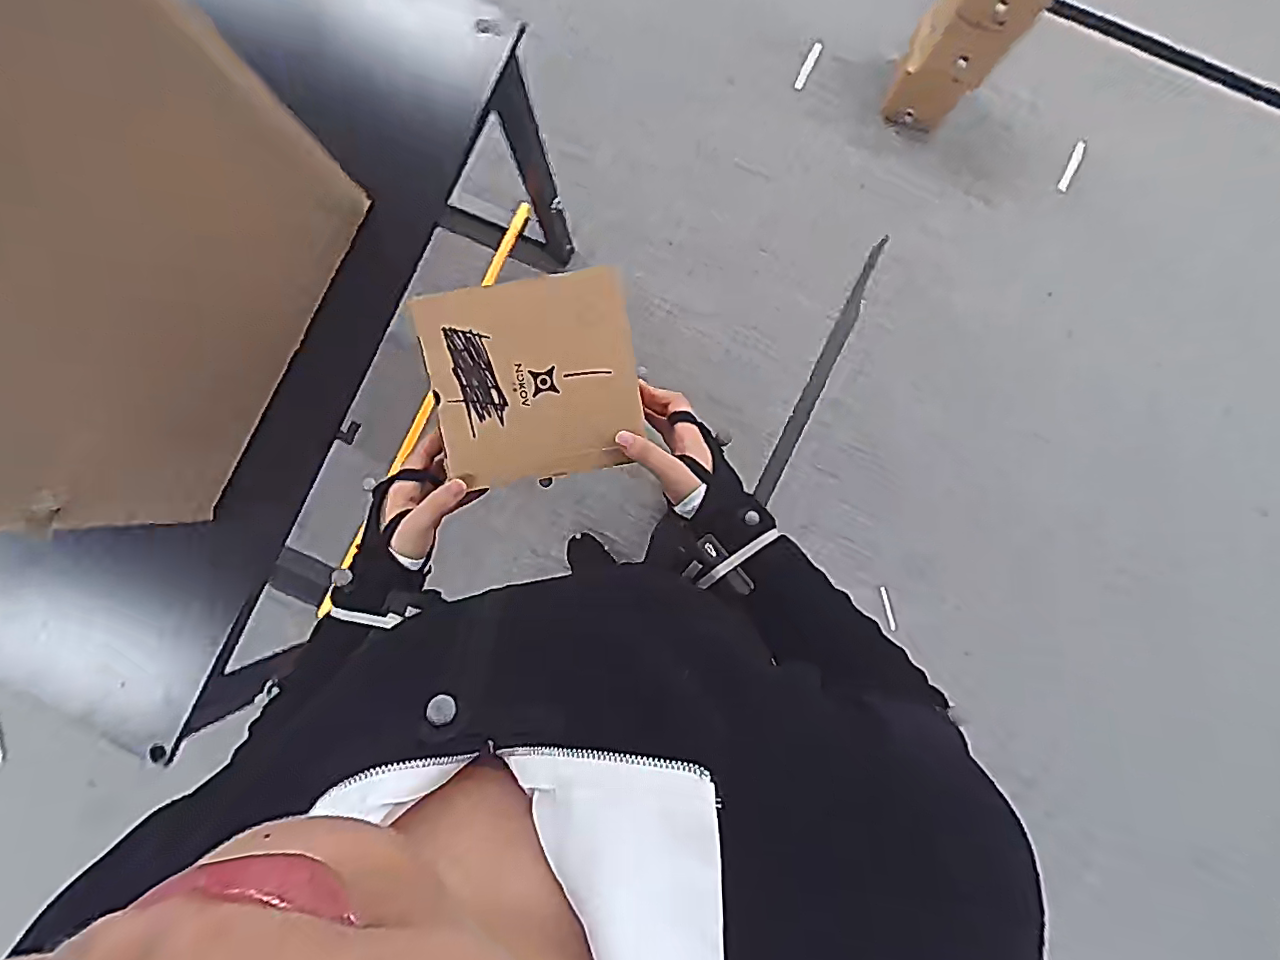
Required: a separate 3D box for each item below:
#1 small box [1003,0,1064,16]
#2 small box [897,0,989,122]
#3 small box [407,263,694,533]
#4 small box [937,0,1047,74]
[{"bbox_3d":[0.815,-1.080,1.056,0.168,0.176,0.179,22,88,2],"label":"small box"},{"bbox_3d":[0.792,-1.075,1.386,0.168,0.176,0.179,18,89,2],"label":"small box"},{"bbox_3d":[-0.061,-0.066,0.449,0.179,0.176,0.168,-9,100,-2],"label":"small box"},{"bbox_3d":[0.807,-1.073,1.222,0.168,0.176,0.179,17,88,1],"label":"small box"}]
